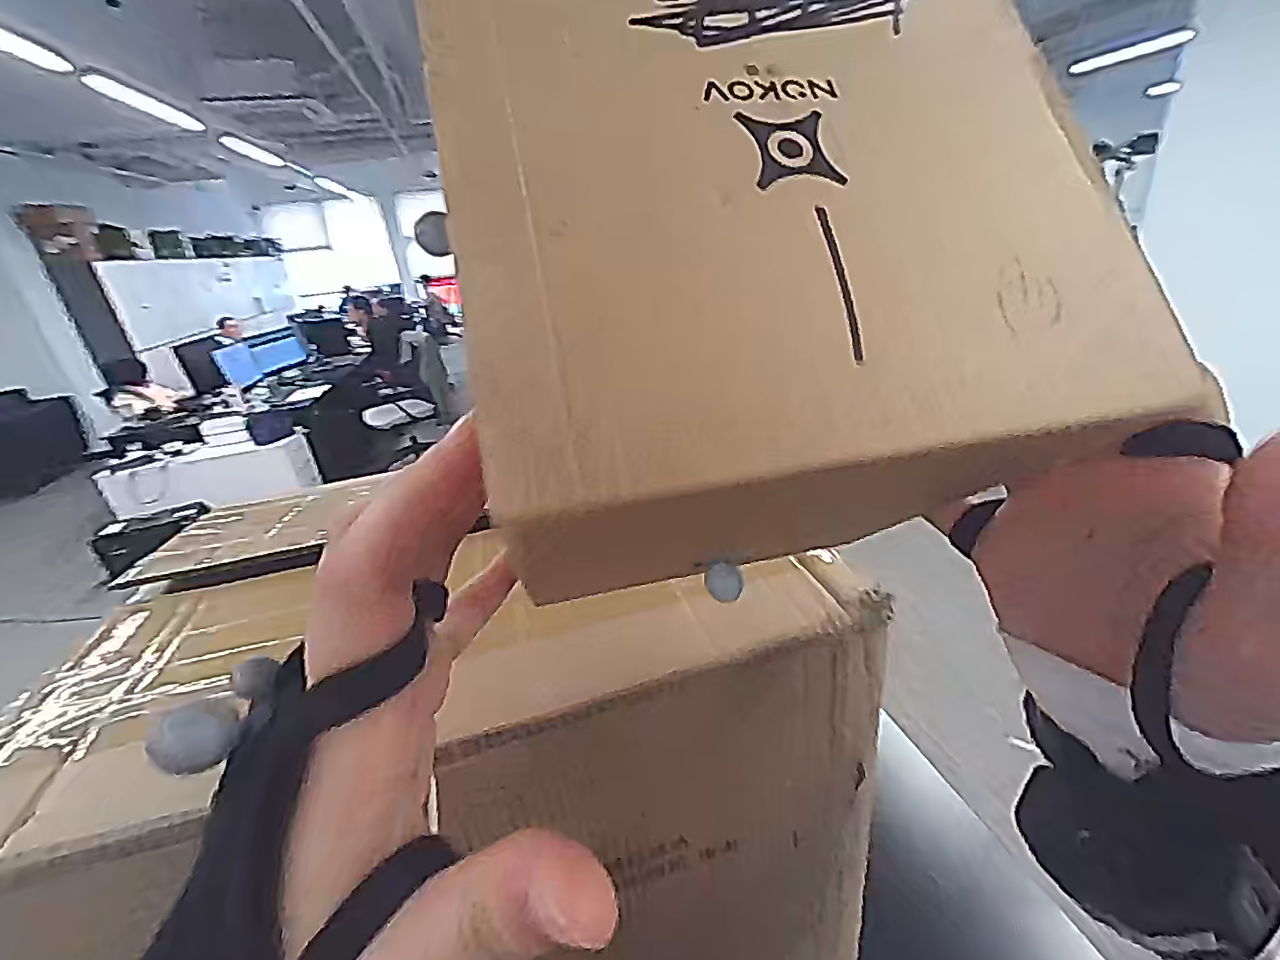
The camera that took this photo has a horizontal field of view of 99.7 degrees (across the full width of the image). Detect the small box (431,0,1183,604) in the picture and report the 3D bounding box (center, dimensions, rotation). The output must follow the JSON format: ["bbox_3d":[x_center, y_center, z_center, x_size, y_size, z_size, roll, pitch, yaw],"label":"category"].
[{"bbox_3d":[0.024,-0.057,0.212,0.168,0.179,0.176,-9,-15,-10],"label":"small box"}]
